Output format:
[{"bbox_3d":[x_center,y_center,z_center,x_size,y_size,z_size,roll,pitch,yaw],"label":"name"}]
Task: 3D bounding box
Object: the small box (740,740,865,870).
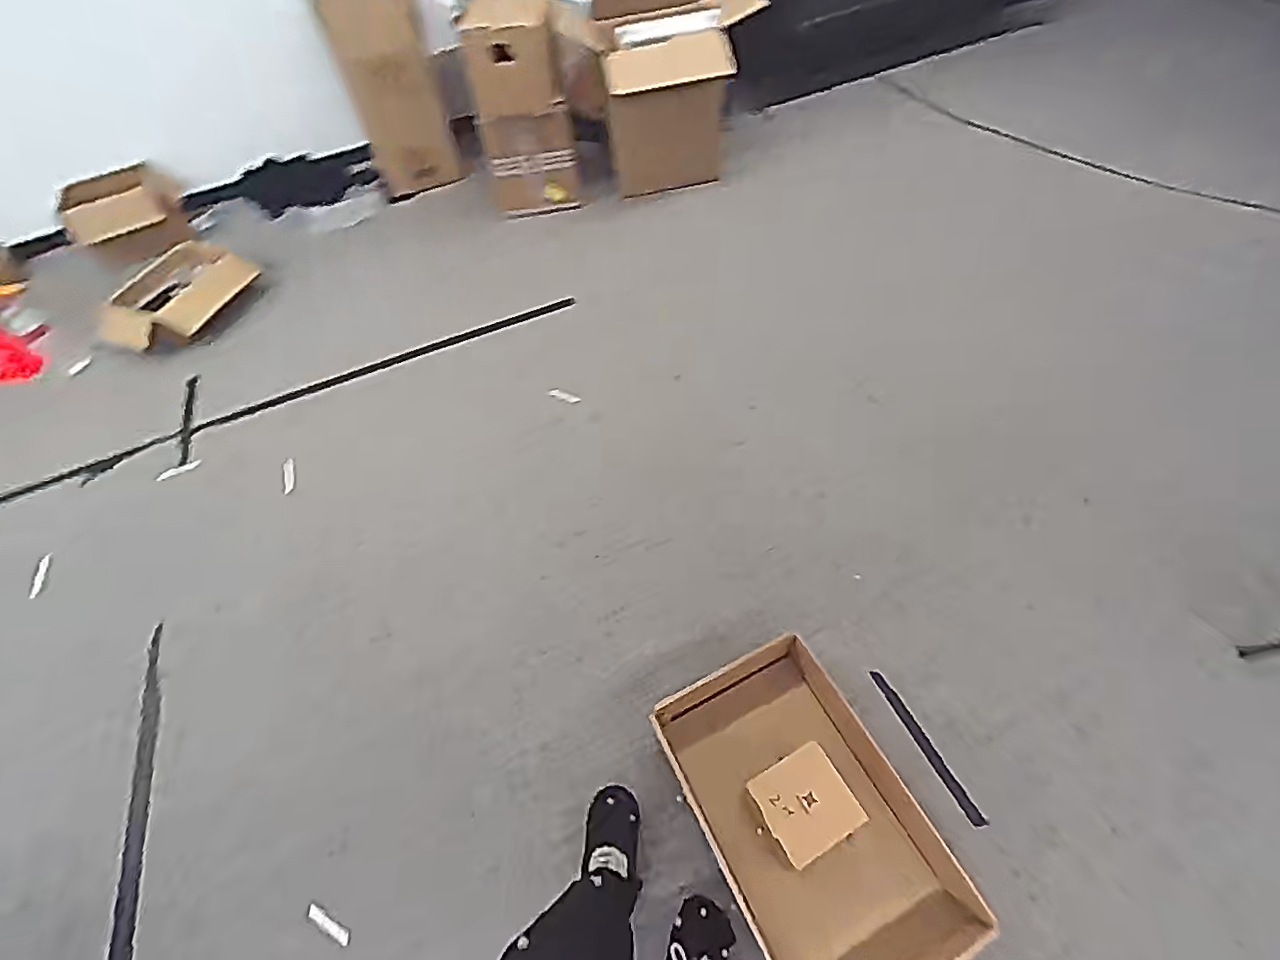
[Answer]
[{"bbox_3d":[0.326,0.674,1.125,0.179,0.176,0.168,-26,56,-12],"label":"small box"}]
